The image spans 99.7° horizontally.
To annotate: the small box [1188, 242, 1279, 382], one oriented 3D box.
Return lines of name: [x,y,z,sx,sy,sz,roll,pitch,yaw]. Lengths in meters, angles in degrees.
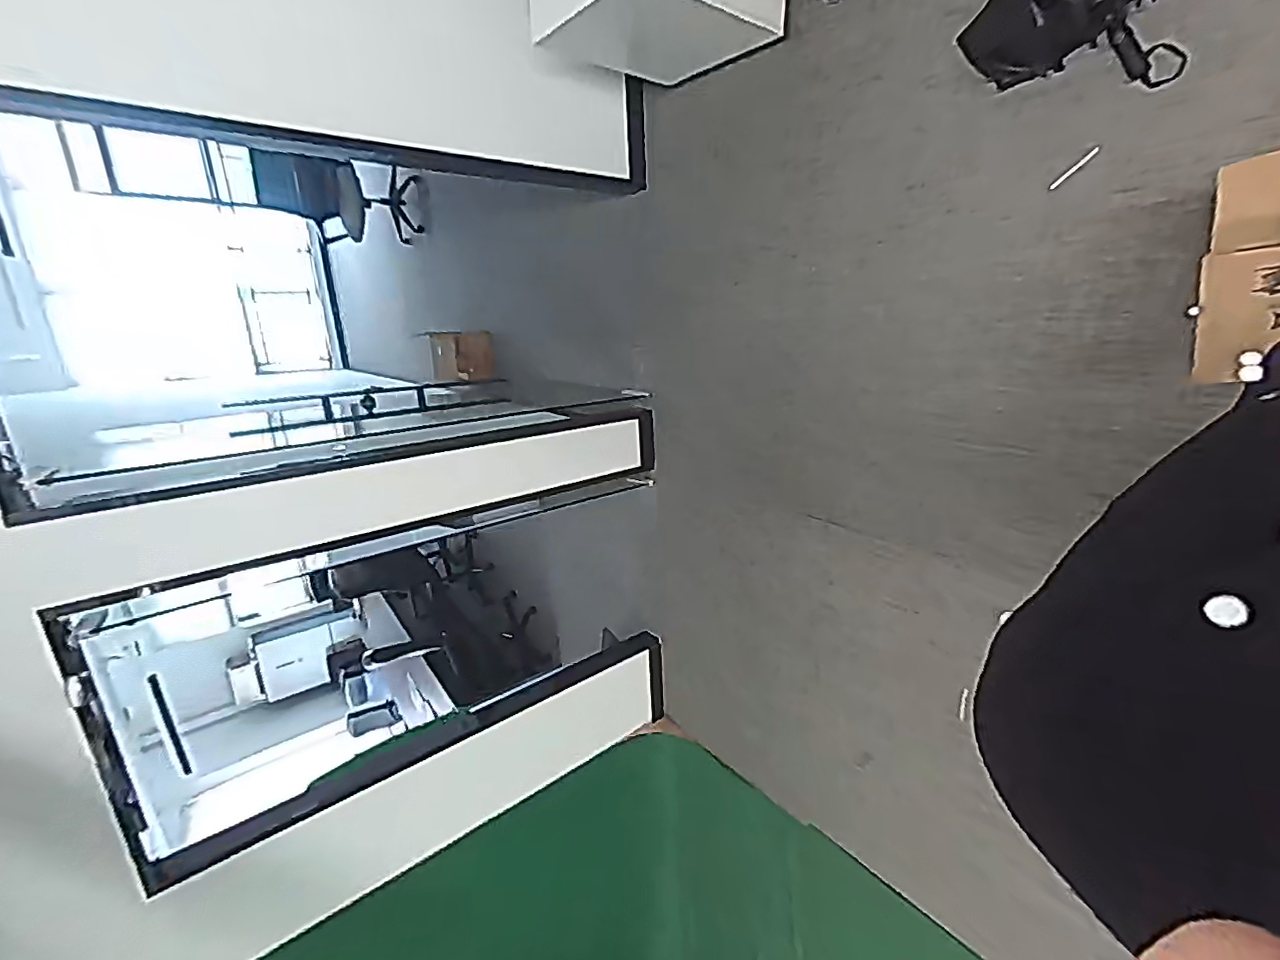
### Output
small box: [0.887,-0.234,0.738,0.168,0.176,0.179,9,112,52]
